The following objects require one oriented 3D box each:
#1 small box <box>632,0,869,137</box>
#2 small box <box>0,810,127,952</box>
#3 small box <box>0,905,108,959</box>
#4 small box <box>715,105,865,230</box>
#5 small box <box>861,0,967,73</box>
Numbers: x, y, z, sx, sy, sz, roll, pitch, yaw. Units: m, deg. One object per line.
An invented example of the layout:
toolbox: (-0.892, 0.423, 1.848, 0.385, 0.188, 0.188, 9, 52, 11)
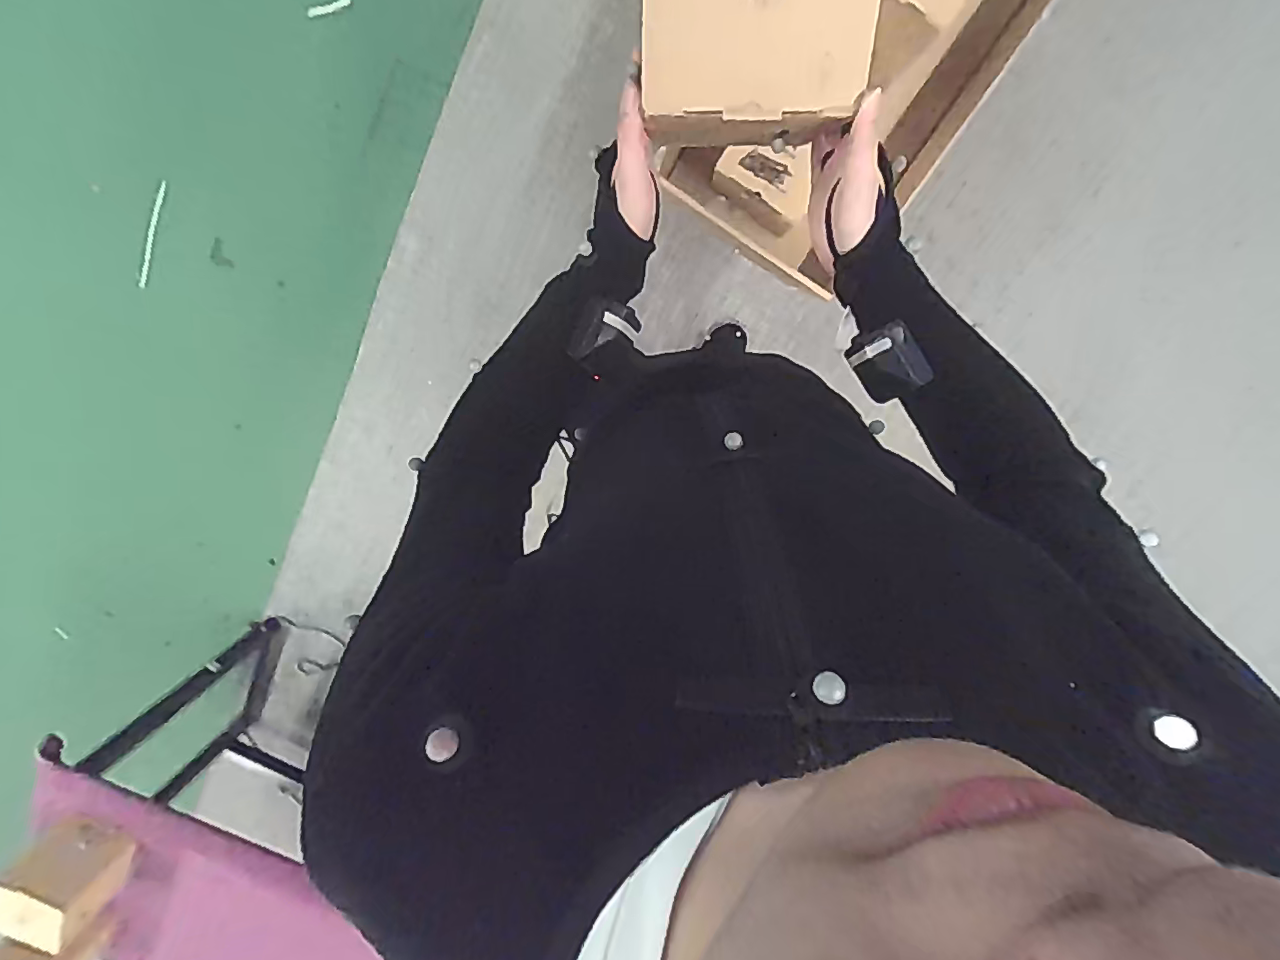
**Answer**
small box: (0.079, -0.386, 0.435, 0.168, 0.176, 0.179, 1, 116, 1)
small box: (-1.328, 0.902, 1.226, 0.168, 0.176, 0.179, 28, 109, -6)
small box: (-1.477, 1.162, 1.328, 0.168, 0.176, 0.179, 30, 106, -5)
small box: (0.243, -0.555, 0.923, 0.168, 0.176, 0.179, 33, 107, -6)
small box: (0.360, -0.687, 0.700, 0.168, 0.176, 0.179, 32, 110, -6)
